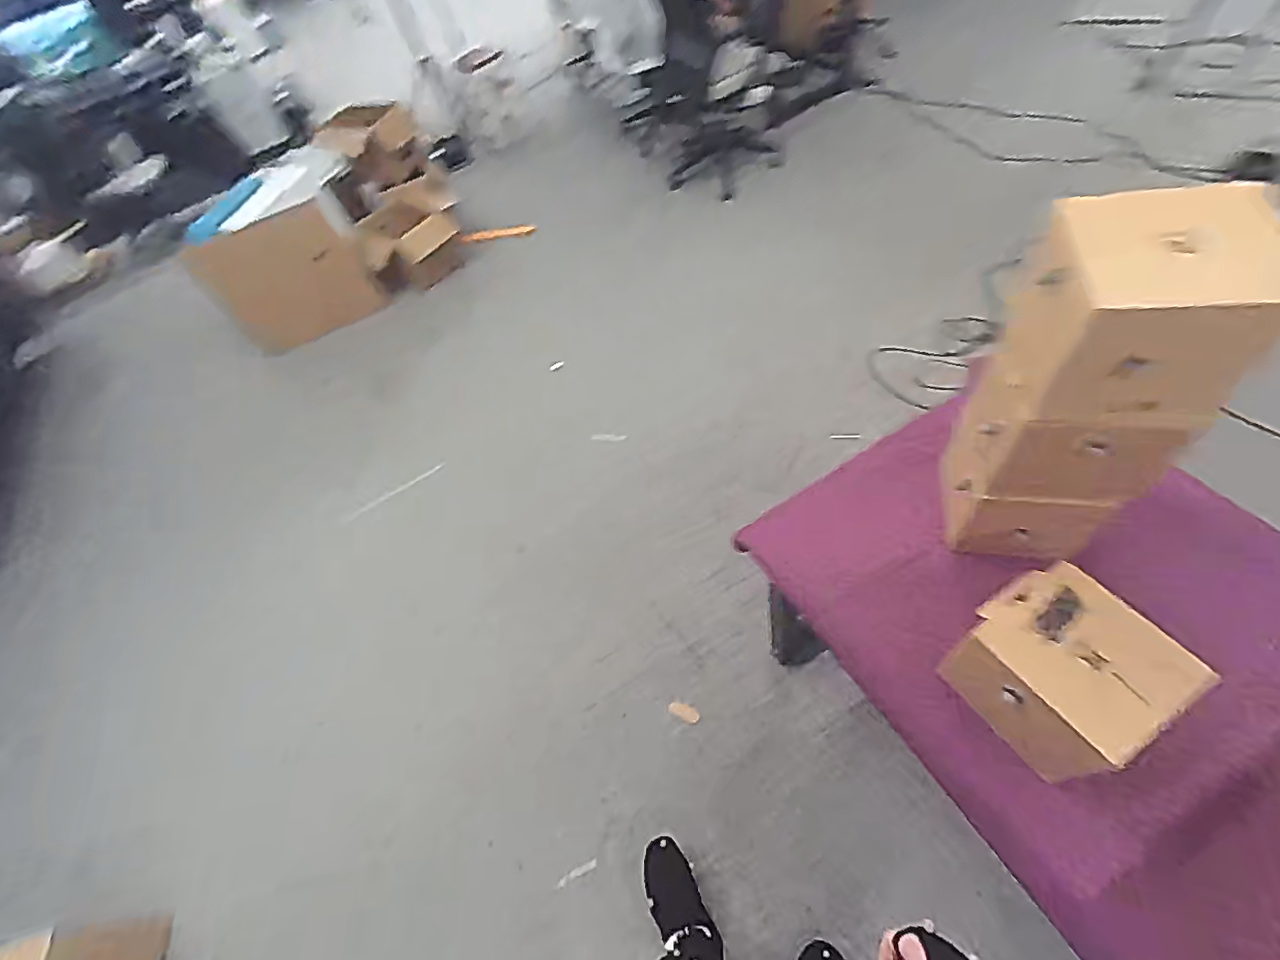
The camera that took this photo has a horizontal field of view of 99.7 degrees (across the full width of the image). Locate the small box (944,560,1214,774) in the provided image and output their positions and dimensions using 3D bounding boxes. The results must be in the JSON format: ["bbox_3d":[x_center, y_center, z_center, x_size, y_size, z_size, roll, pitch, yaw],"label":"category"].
[{"bbox_3d":[0.529,0.241,0.687,0.168,0.176,0.179,-32,55,-10],"label":"small box"}]

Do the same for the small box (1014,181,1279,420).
[{"bbox_3d":[0.527,-0.178,0.573,0.168,0.176,0.179,3,58,16],"label":"small box"}]

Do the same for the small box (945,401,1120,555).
[{"bbox_3d":[0.587,0.000,0.837,0.168,0.176,0.179,5,58,16],"label":"small box"}]

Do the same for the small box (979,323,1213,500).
[{"bbox_3d":[0.561,-0.087,0.702,0.179,0.176,0.168,5,59,17],"label":"small box"}]
